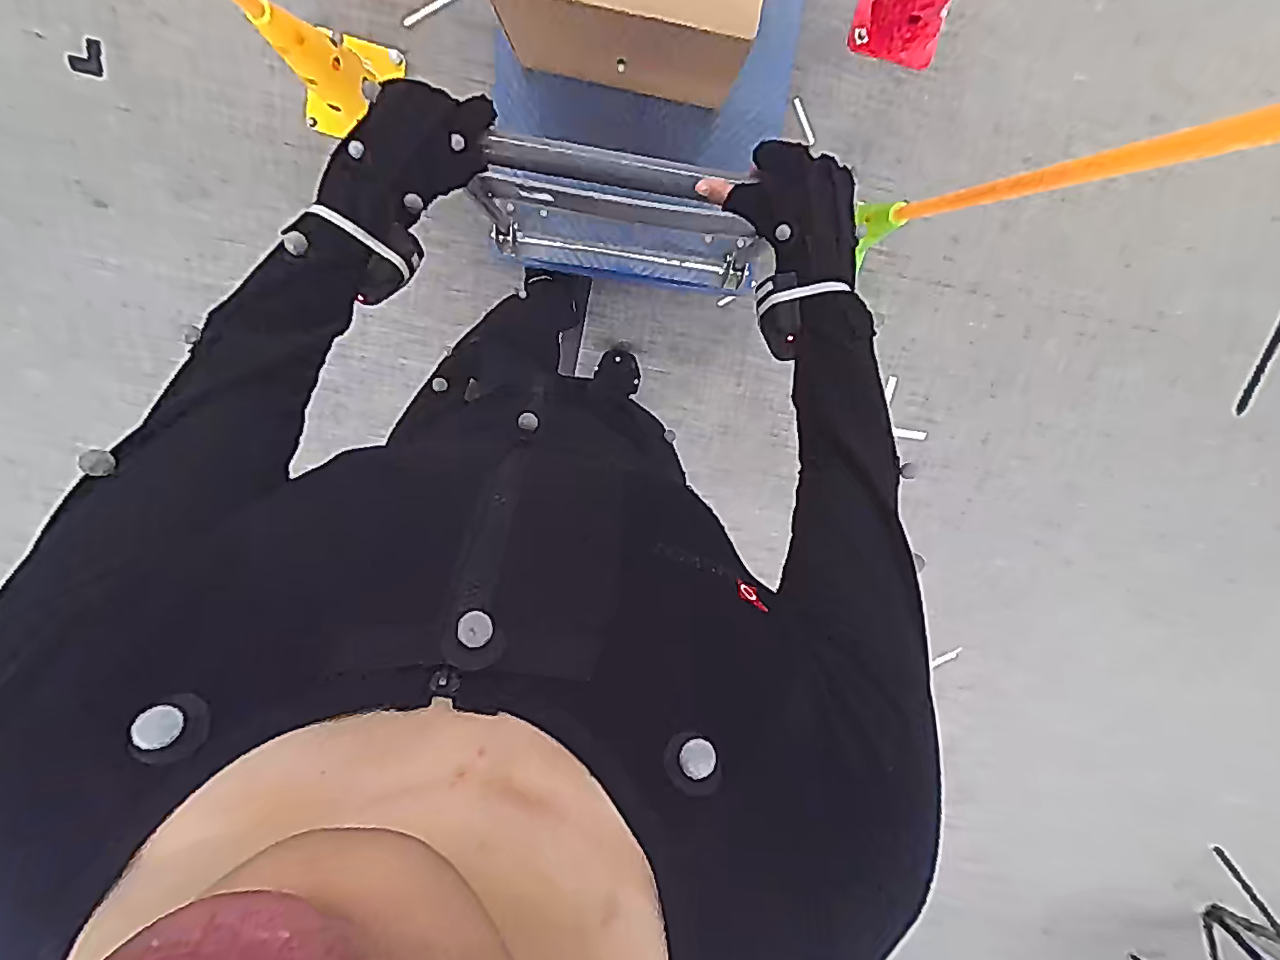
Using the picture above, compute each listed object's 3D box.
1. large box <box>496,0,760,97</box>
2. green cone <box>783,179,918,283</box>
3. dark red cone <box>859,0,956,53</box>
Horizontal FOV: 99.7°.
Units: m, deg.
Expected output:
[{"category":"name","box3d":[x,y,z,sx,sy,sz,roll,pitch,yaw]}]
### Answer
[{"category":"large box","box3d":[-0.003,-0.880,0.883,0.408,0.320,0.320,9,108,-3]},{"category":"green cone","box3d":[0.475,-0.550,1.156,0.202,0.368,0.200,14,107,-7]},{"category":"dark red cone","box3d":[0.592,-0.994,0.997,0.201,0.394,0.202,10,108,-7]}]
